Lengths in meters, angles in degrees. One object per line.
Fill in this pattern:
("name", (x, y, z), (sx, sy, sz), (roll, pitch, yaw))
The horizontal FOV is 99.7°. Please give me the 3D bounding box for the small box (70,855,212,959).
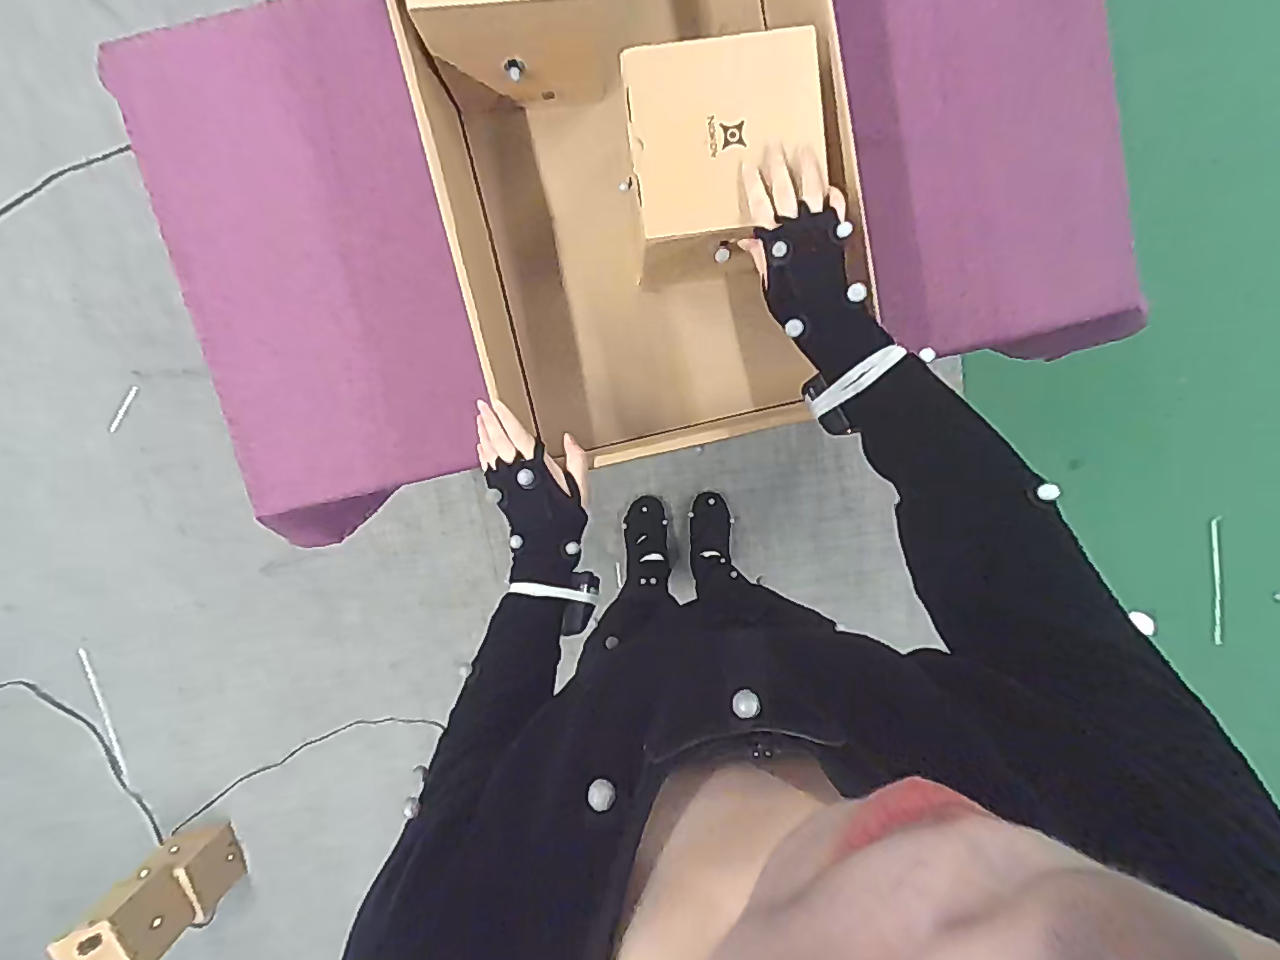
("small box", (-1.274, 1.113, 1.394), (0.168, 0.176, 0.179), (-23, 98, 4))
